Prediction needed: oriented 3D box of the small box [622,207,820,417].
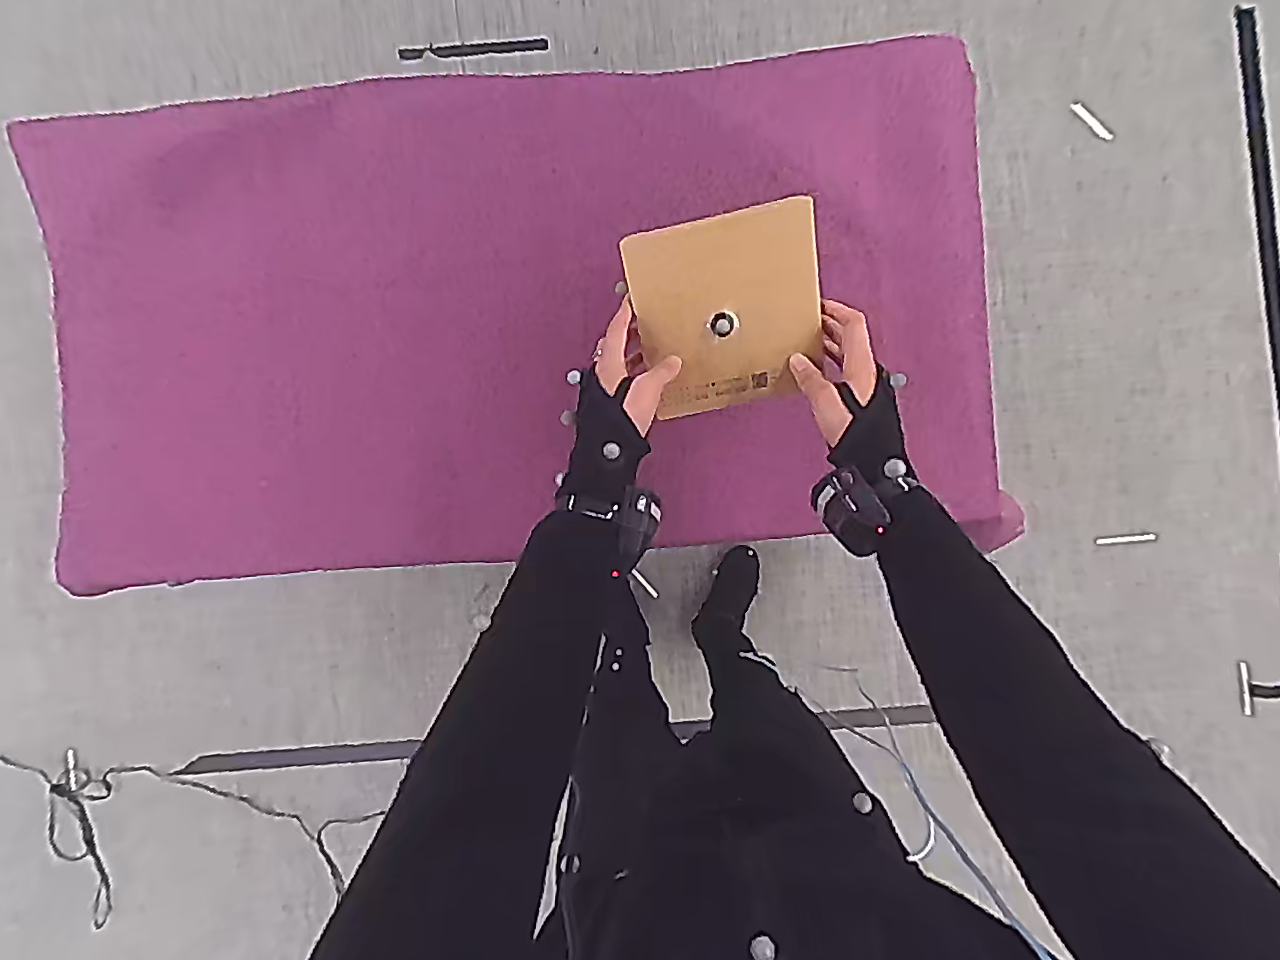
[{"bbox_3d":[0.085,-0.174,0.569,0.168,0.179,0.176,-9,116,8],"label":"small box"}]
